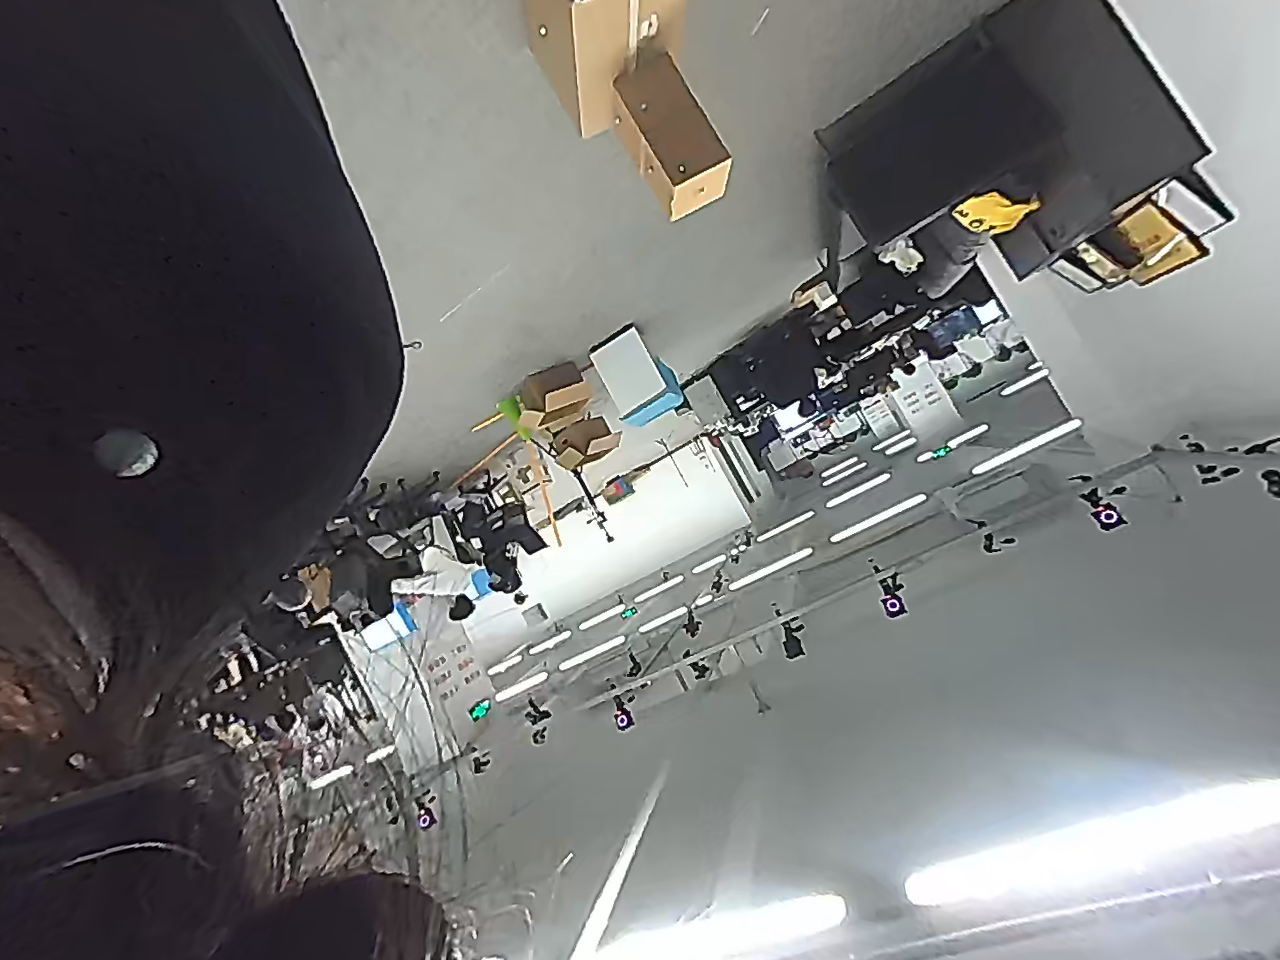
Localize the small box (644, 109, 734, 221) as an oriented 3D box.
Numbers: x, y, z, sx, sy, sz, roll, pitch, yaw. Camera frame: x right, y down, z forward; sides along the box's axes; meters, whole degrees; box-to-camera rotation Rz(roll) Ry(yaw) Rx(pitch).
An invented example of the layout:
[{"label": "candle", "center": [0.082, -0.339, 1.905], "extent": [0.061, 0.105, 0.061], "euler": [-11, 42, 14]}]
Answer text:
[{"label": "small box", "center": [0.128, -0.857, 1.471], "extent": [0.179, 0.176, 0.168], "euler": [-28, 175, -2]}]
